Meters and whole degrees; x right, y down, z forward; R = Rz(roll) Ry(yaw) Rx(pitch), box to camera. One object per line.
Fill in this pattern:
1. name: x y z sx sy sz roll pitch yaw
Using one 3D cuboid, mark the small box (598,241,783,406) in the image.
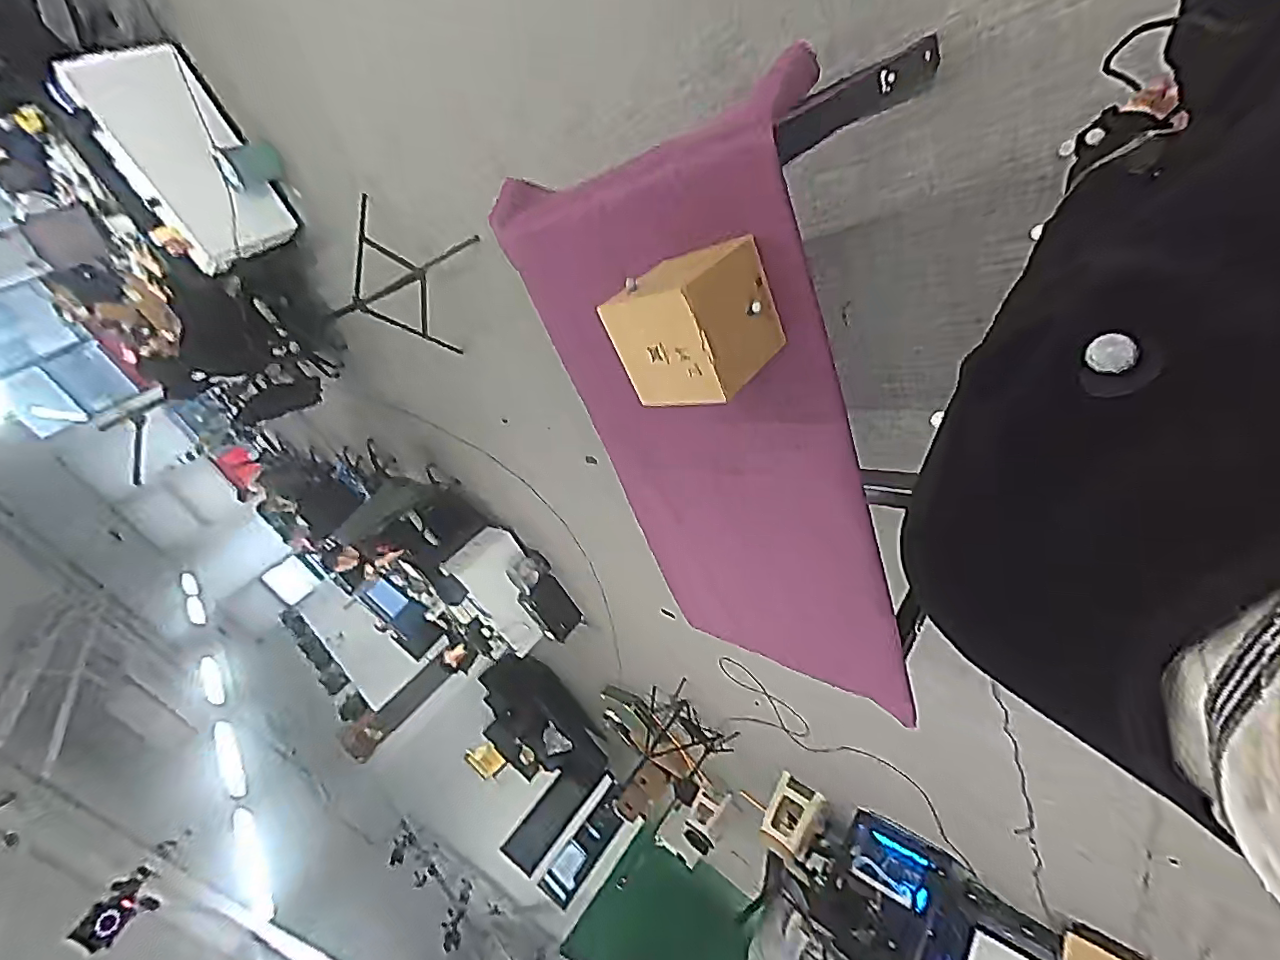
1. small box: 0.078 -0.222 0.790 0.179 0.176 0.168 7 134 47
